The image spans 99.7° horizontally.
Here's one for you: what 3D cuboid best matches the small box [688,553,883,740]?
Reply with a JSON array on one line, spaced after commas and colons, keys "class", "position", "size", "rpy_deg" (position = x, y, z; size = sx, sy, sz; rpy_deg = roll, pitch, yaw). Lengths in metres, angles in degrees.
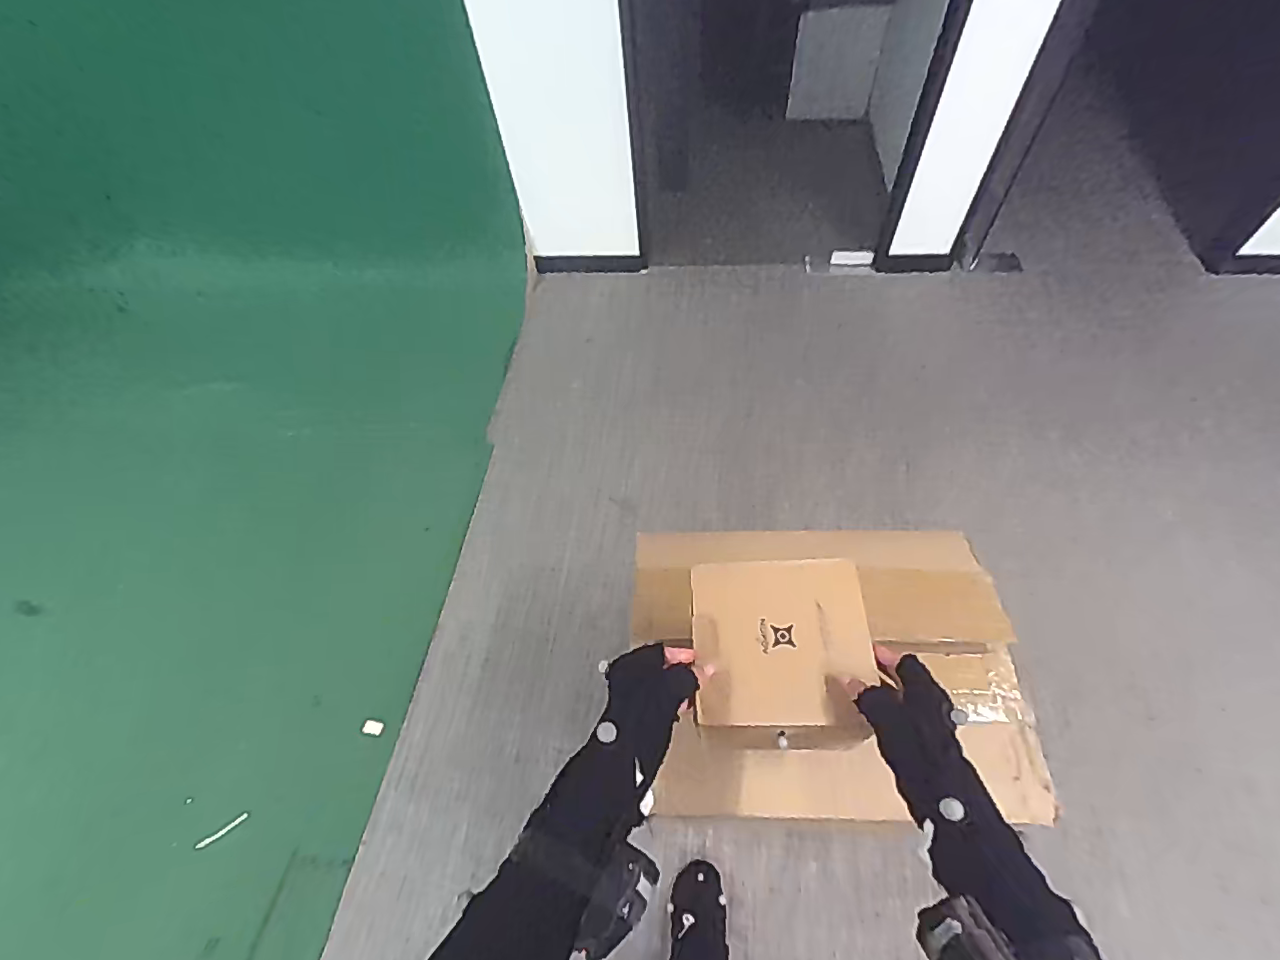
[{"class": "small box", "position": [0.149, 0.195, 0.614], "size": [0.179, 0.176, 0.168], "rpy_deg": [-3, 57, 5]}]
